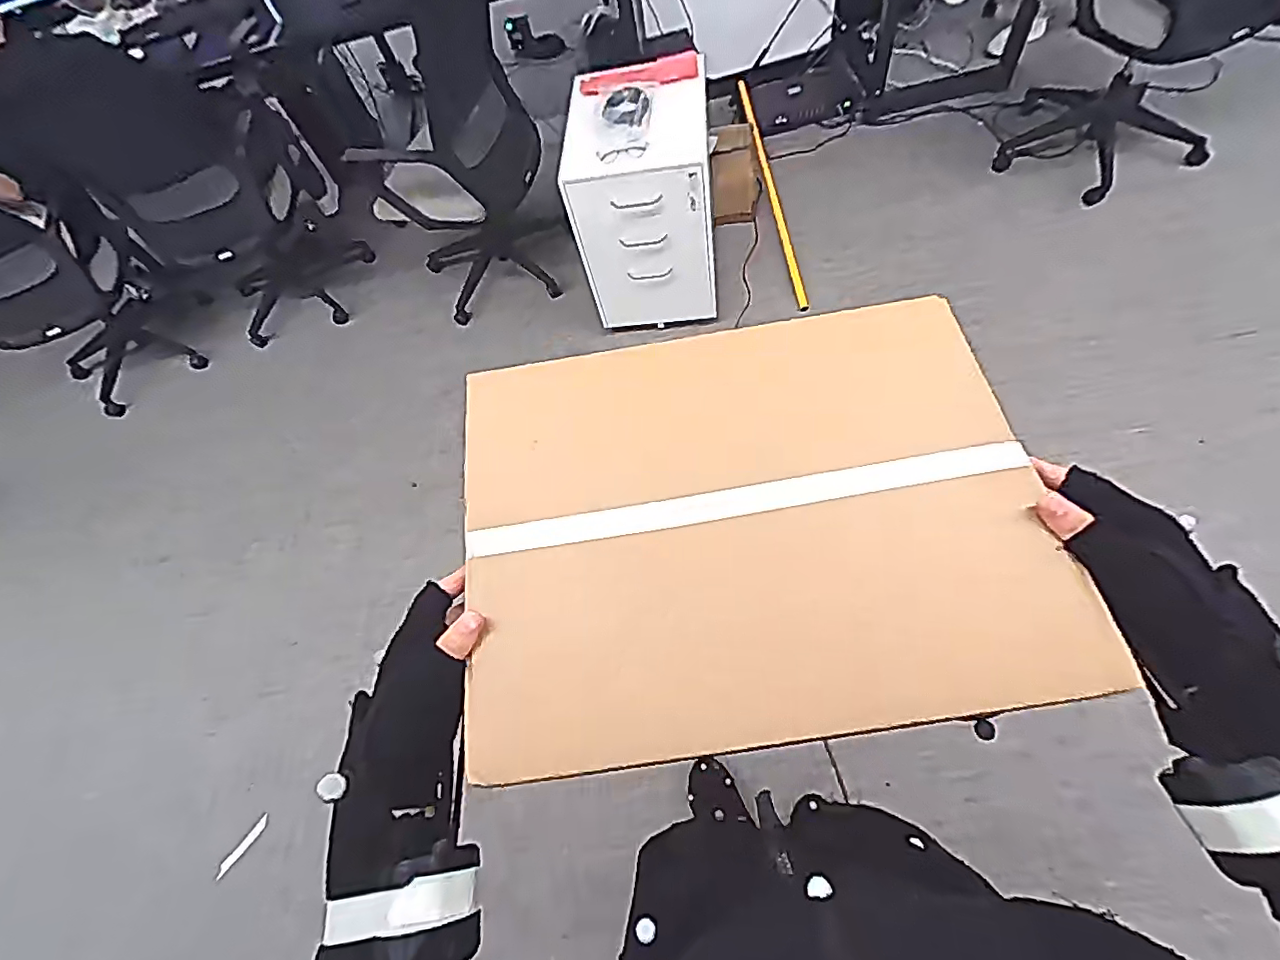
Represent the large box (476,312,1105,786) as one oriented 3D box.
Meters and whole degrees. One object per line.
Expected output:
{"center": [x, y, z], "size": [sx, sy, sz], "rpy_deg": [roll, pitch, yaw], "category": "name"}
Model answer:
{"center": [0.089, 0.085, 0.534], "size": [0.408, 0.320, 0.320], "rpy_deg": [-9, 63, 1], "category": "large box"}
